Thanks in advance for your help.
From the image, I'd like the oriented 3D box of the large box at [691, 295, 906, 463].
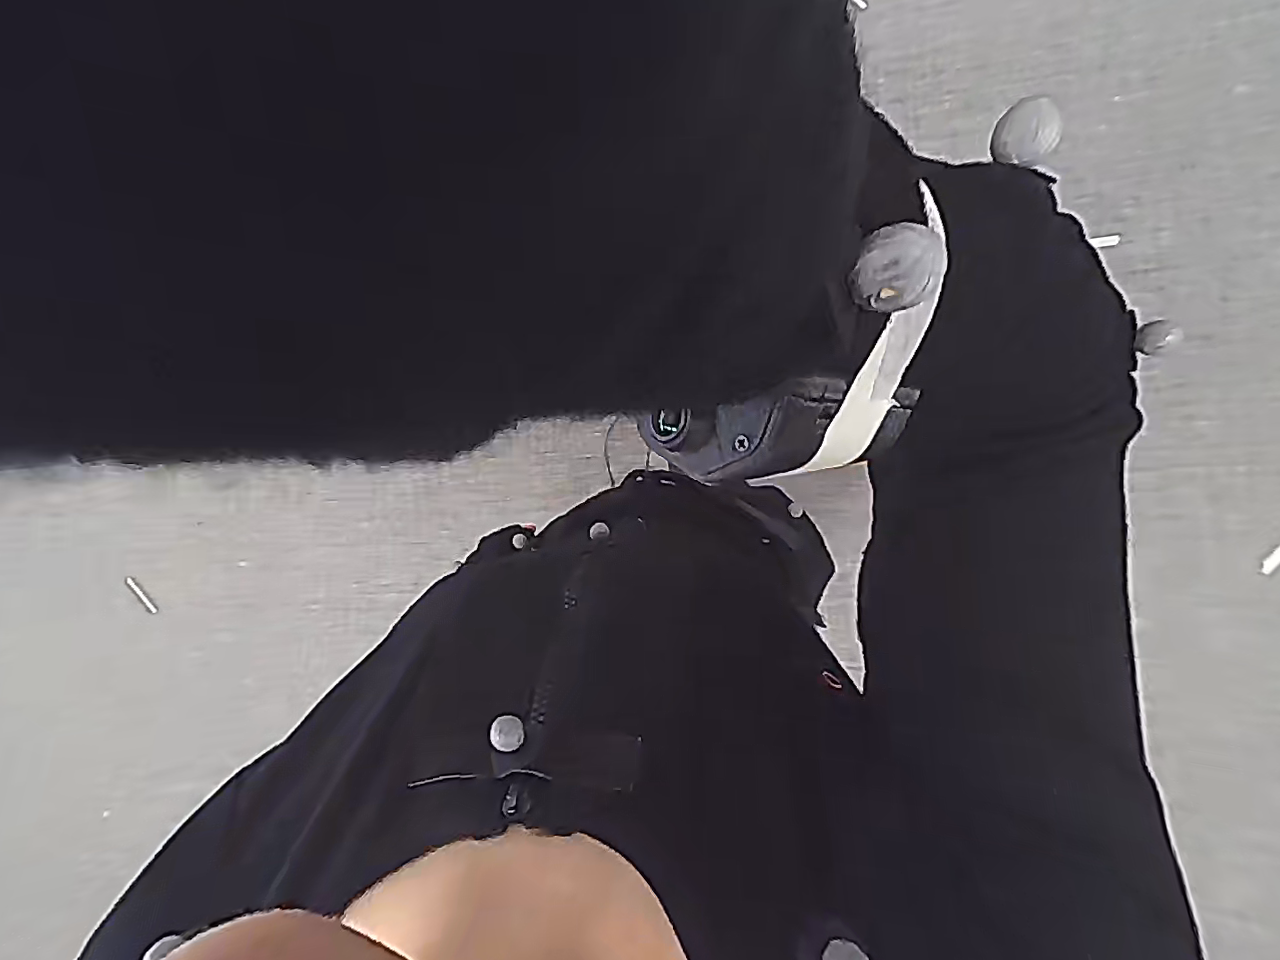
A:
[{"bbox_3d":[0.319,-0.195,1.184,0.408,0.320,0.320,1,92,8],"label":"large box"}]
